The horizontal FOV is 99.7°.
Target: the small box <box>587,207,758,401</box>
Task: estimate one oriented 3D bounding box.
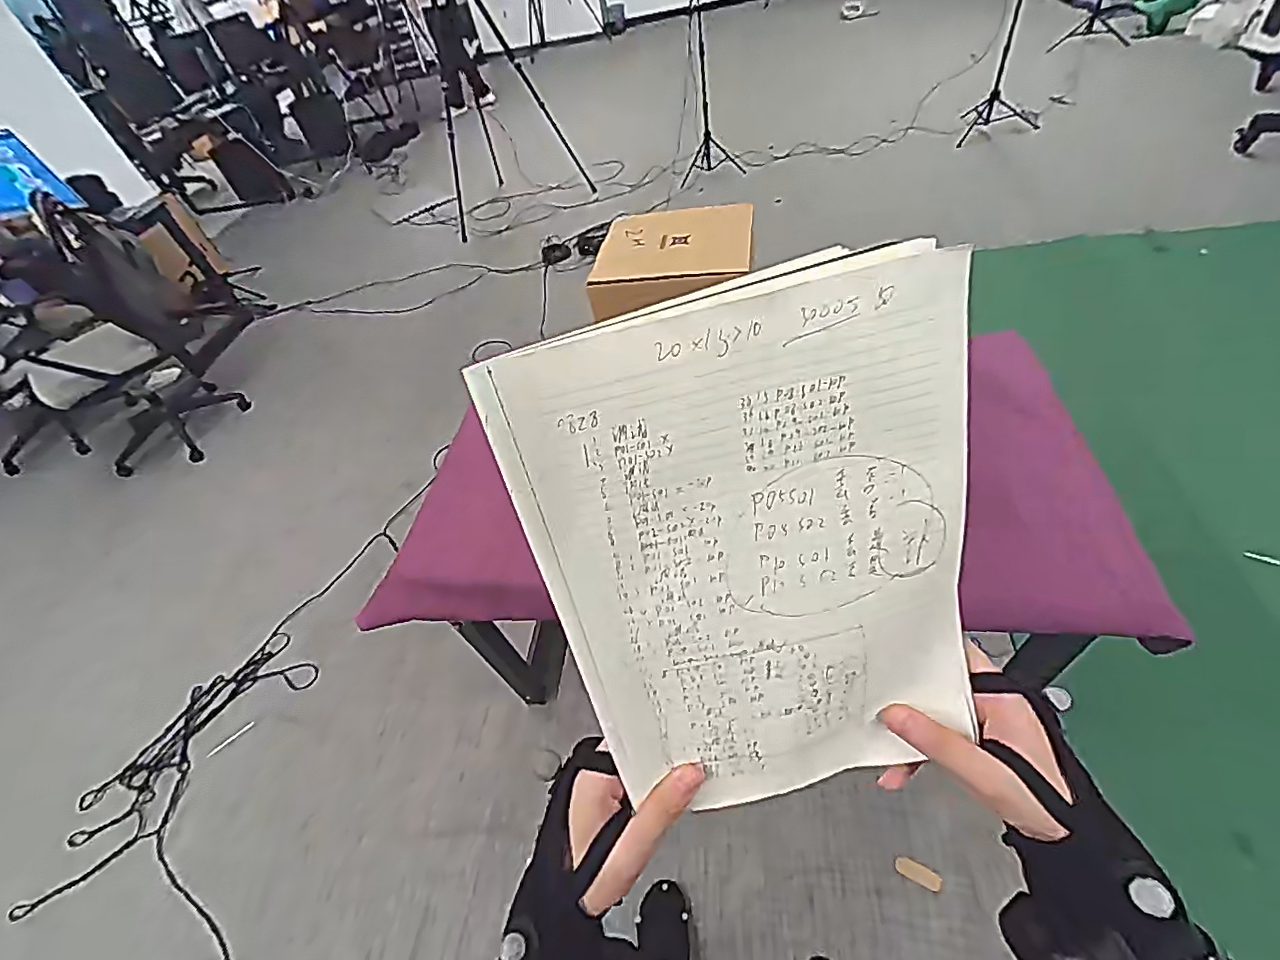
[{"bbox_3d":[0.054,-0.211,0.667,0.179,0.176,0.168,1,47,14],"label":"small box"}]

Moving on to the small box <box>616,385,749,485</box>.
[{"bbox_3d":[0.073,-0.105,0.794,0.168,0.176,0.179,-1,48,12],"label":"small box"}]

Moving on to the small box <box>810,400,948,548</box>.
[{"bbox_3d":[0.366,-0.006,0.862,0.168,0.176,0.179,0,48,12],"label":"small box"}]
